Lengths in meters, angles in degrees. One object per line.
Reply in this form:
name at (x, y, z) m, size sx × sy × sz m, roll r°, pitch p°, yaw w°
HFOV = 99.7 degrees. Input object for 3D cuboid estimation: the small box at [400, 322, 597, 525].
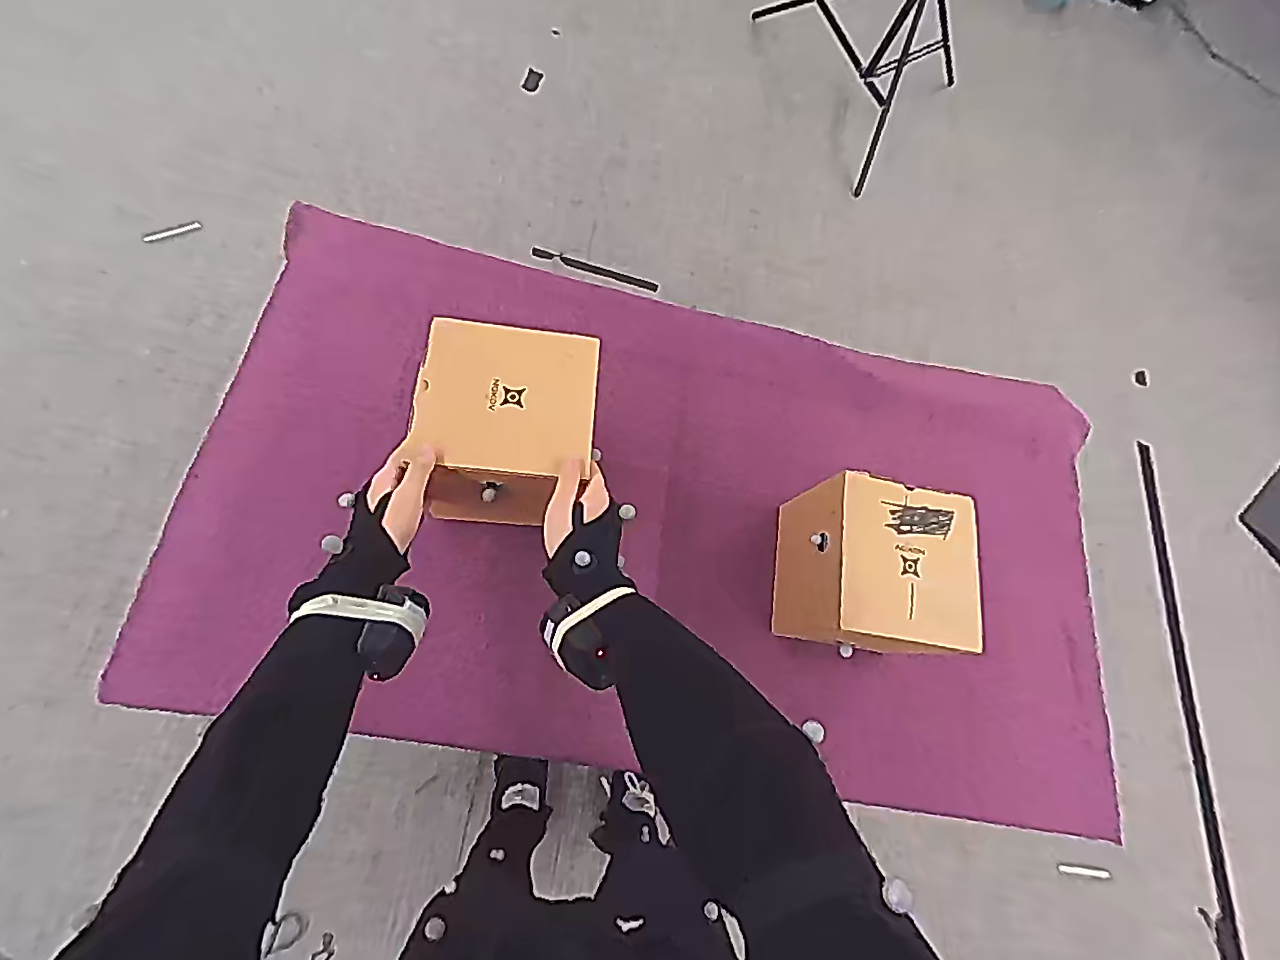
small box at (-0.147, -0.051, 0.612) m, size 0.179 × 0.176 × 0.168 m, roll 5°, pitch 68°, yaw -8°

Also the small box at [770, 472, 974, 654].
small box at (0.272, 0.111, 0.664) m, size 0.168 × 0.176 × 0.179 m, roll 12°, pitch 71°, yaw -8°
